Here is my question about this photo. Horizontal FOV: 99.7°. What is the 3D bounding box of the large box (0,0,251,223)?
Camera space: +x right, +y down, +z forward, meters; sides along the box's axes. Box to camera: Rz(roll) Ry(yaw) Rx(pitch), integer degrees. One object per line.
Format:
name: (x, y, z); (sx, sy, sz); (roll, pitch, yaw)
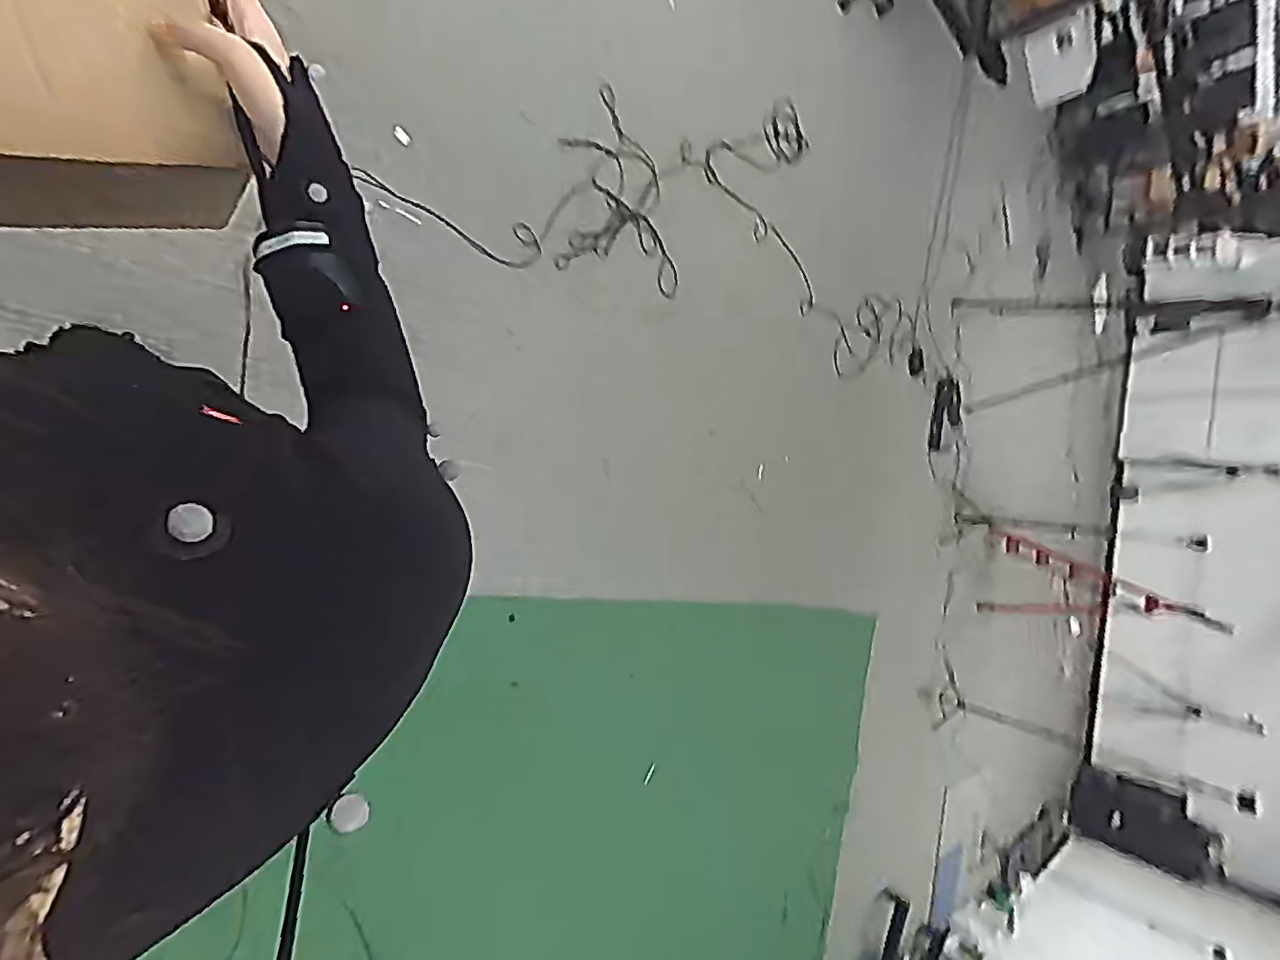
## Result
large box: (-0.556, -0.360, 0.367); (0.408, 0.320, 0.320); (-18, 113, -35)
